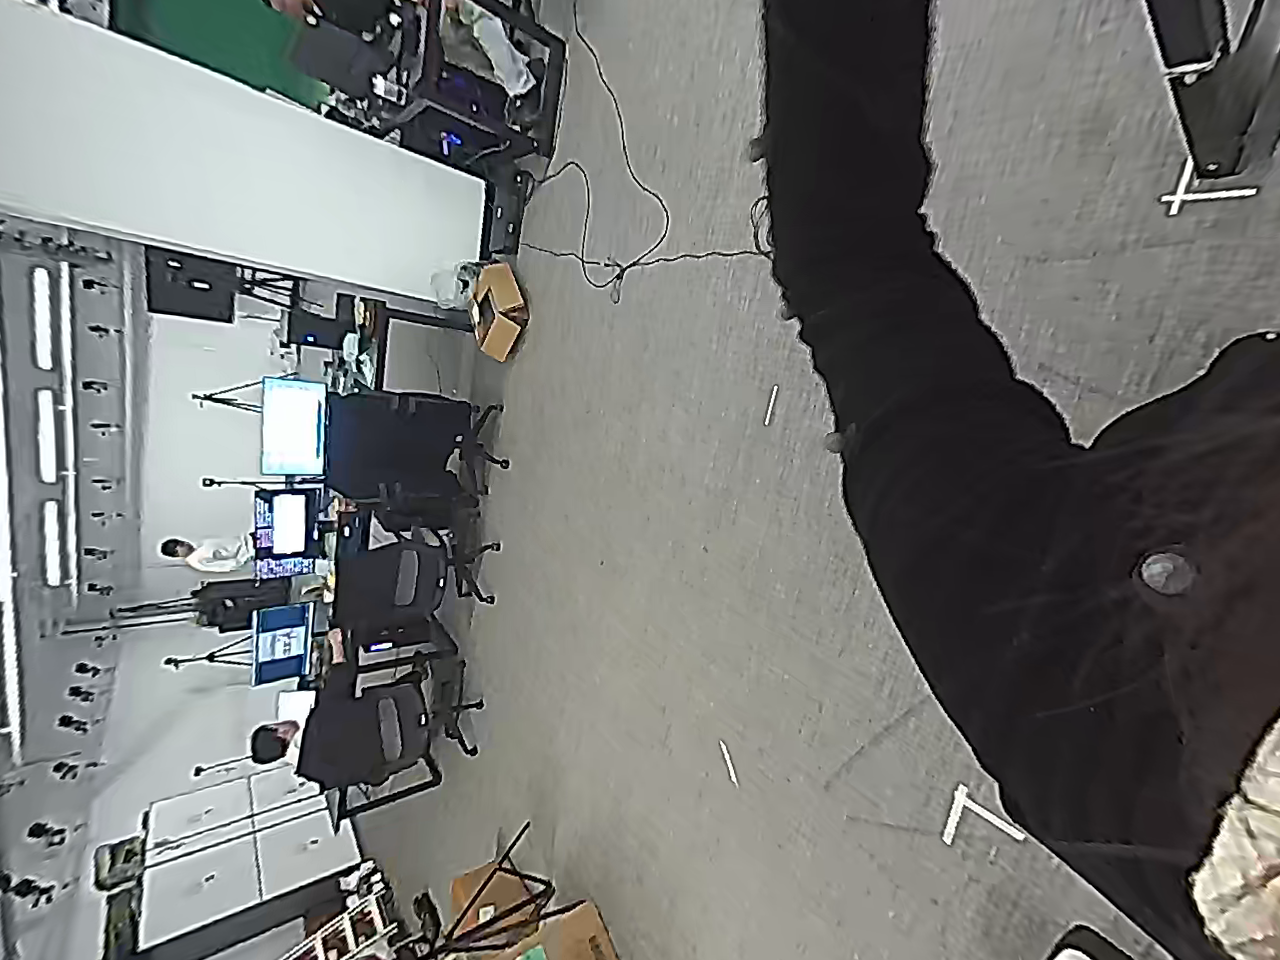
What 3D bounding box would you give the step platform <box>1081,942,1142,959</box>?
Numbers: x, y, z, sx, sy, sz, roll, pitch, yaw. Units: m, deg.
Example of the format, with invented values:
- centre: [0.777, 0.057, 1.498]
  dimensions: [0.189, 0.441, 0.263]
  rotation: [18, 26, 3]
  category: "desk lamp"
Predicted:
- centre: [1.095, 1.232, 0.909]
  dimensions: [0.684, 0.204, 0.286]
  rotation: [33, 114, 45]
  category: "step platform"
